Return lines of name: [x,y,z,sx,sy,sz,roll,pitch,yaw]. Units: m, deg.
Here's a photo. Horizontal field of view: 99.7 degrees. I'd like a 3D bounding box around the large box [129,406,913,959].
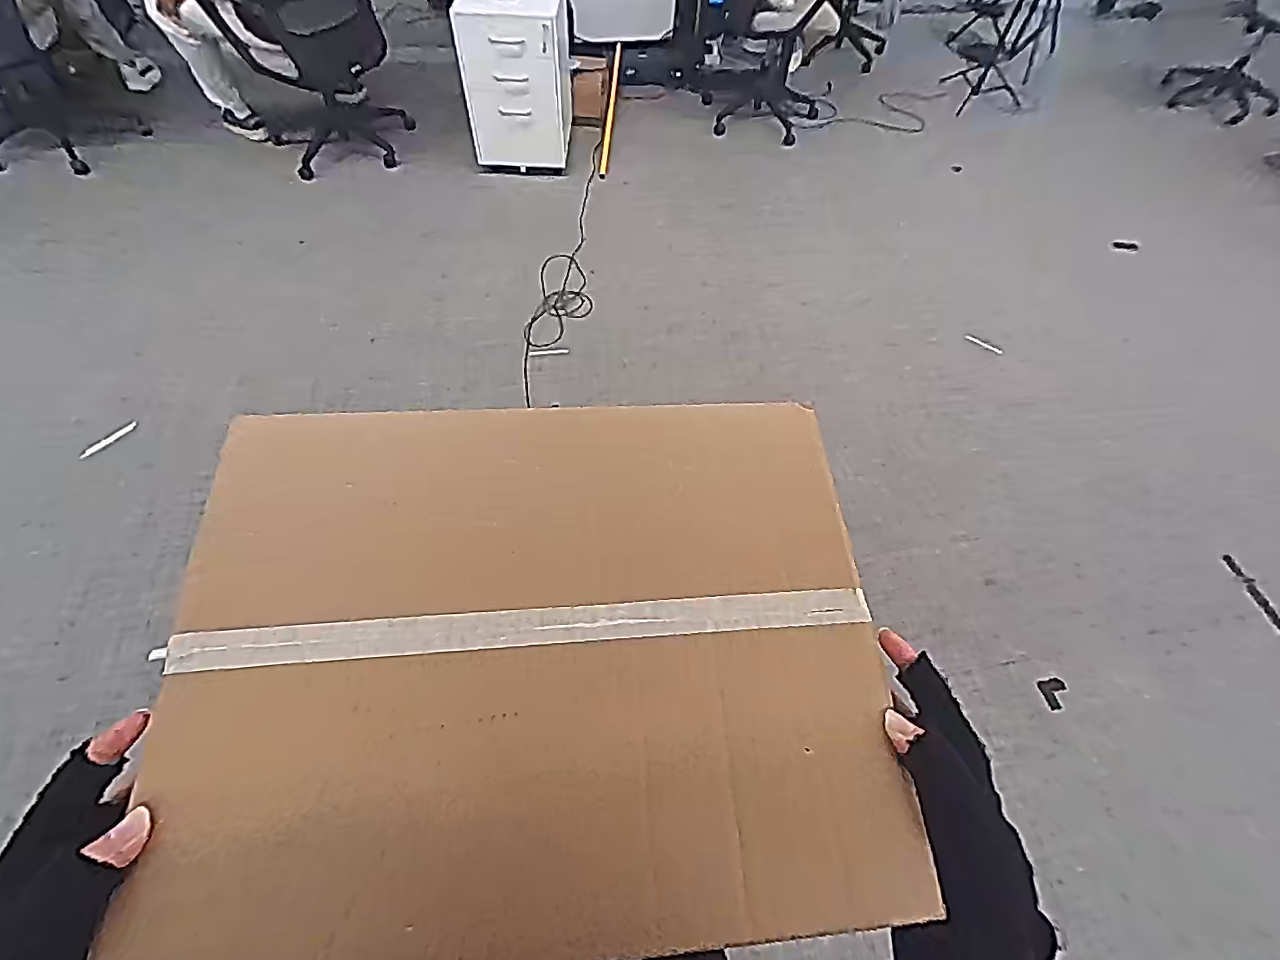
large box: [-0.071,0.154,0.471,0.408,0.320,0.320,-2,65,-6]
